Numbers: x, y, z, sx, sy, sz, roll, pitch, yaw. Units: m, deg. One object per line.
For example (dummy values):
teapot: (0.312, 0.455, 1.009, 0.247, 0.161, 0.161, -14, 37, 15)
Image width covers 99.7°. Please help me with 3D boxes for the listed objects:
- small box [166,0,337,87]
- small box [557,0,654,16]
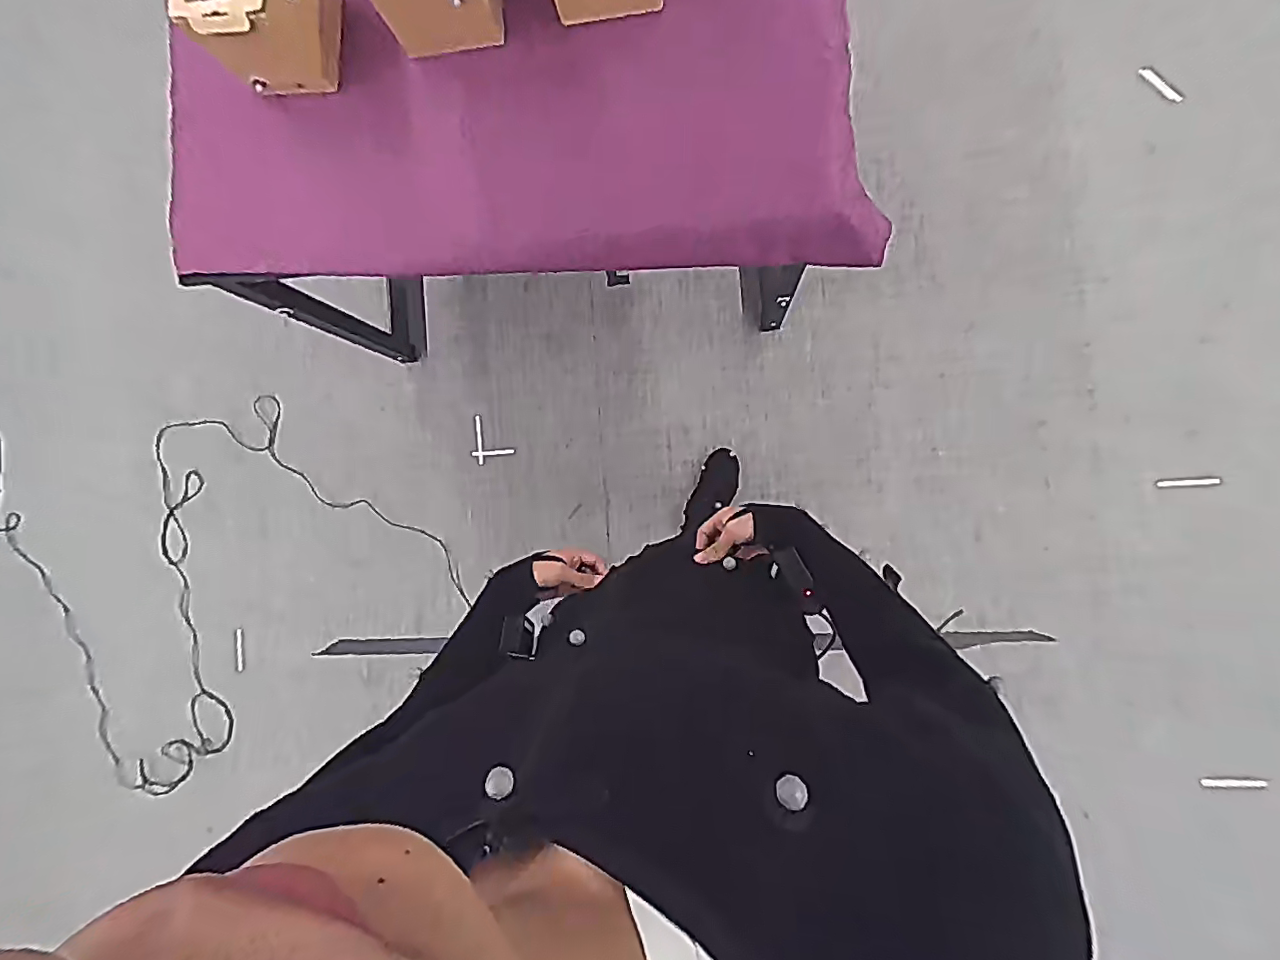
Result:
small box: (-0.634, -0.792, 0.900, 0.168, 0.176, 0.179, 3, 90, 7)
small box: (-0.064, -0.865, 0.829, 0.179, 0.176, 0.168, -3, 91, 8)
